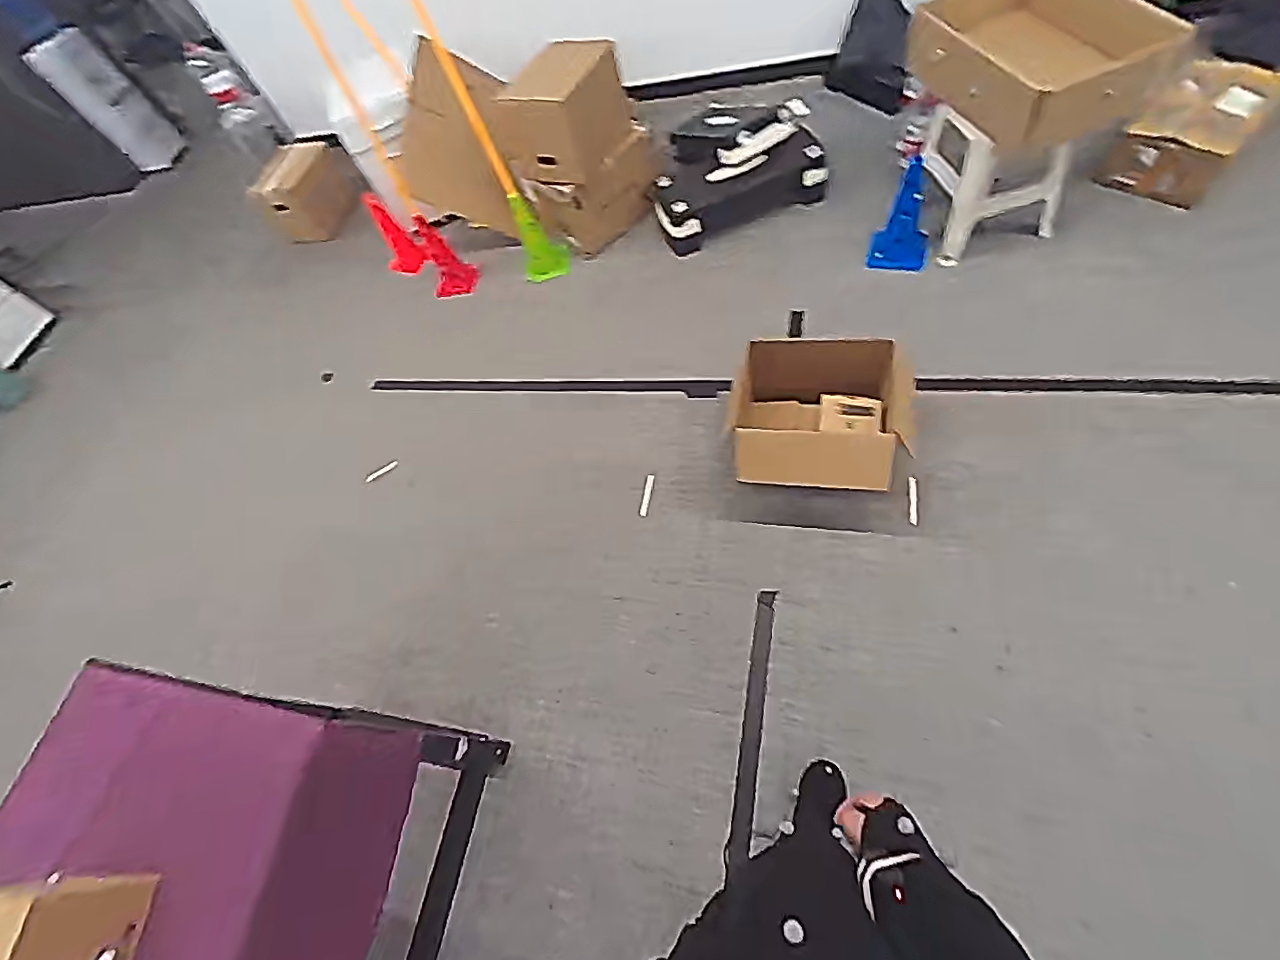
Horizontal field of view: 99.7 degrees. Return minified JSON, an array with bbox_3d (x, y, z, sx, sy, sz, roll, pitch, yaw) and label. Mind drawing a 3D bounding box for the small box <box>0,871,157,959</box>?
[{"bbox_3d":[-0.840,0.651,0.742,0.179,0.176,0.168,-8,61,10],"label":"small box"}]
